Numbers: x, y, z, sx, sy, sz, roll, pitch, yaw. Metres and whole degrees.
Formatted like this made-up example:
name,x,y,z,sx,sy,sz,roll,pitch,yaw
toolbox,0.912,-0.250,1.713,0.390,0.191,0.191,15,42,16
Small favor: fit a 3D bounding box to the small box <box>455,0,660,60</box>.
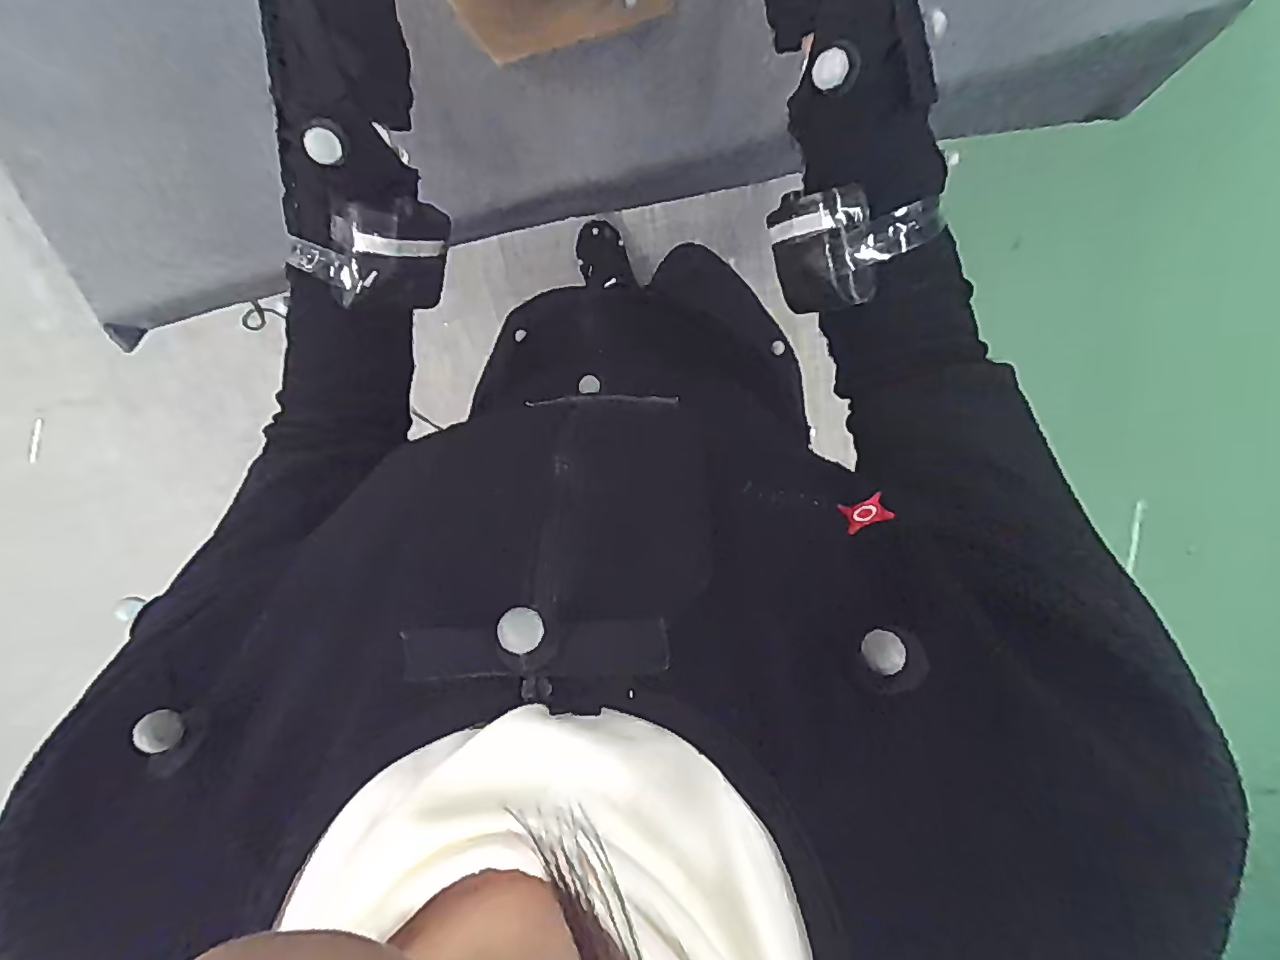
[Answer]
name,x,y,z,sx,sy,sz,roll,pitch,yaw
small box,-0.071,-0.463,0.412,0.179,0.176,0.168,-13,112,6
